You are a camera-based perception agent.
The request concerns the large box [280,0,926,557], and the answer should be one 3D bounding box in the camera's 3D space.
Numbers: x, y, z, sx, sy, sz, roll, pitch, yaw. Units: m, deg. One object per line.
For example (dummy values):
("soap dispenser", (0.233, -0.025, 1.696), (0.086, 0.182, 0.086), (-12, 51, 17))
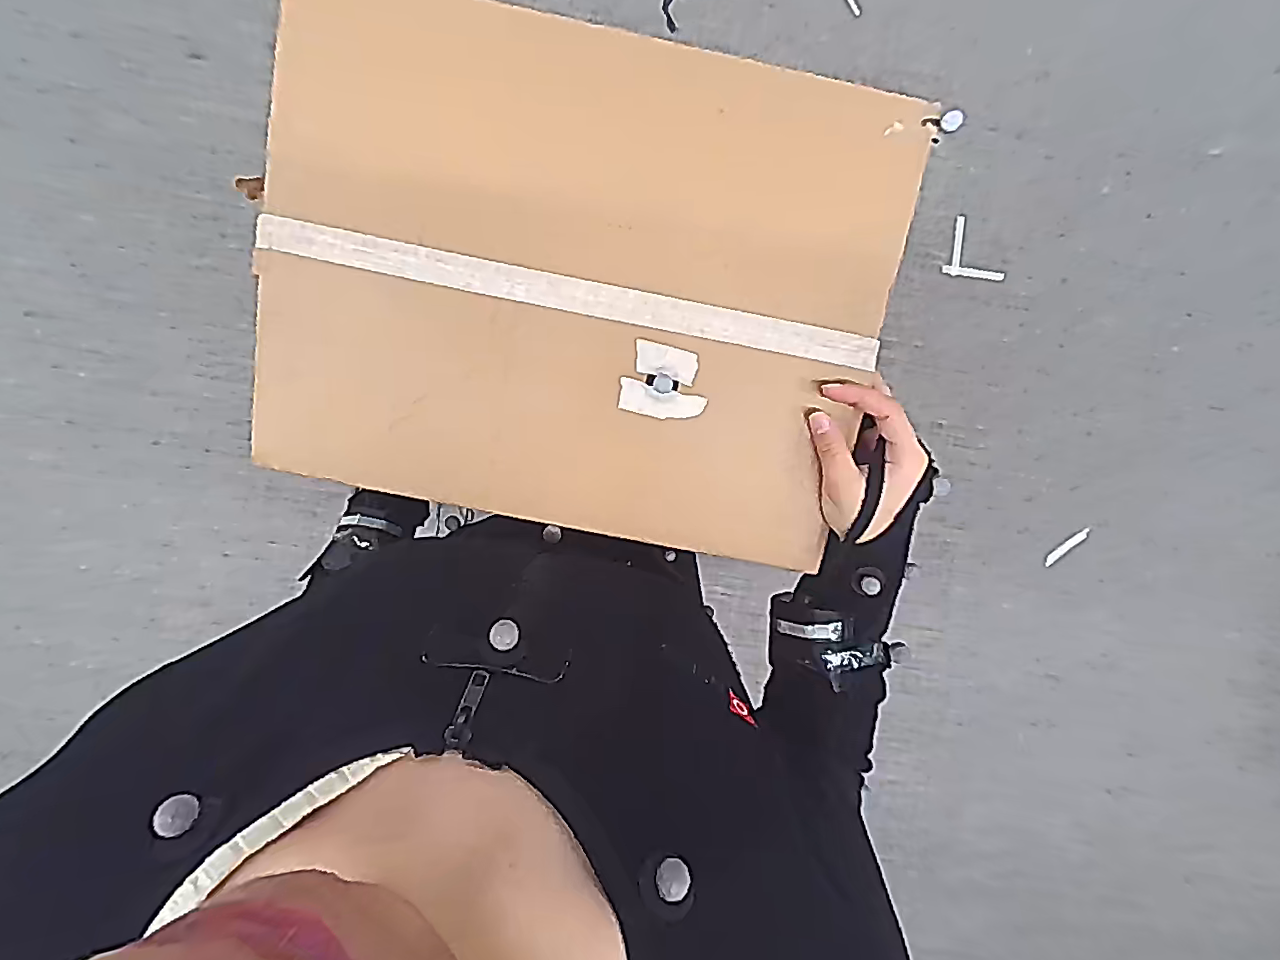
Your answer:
("large box", (-0.039, -0.147, 0.511), (0.408, 0.320, 0.320), (10, 101, -3))
